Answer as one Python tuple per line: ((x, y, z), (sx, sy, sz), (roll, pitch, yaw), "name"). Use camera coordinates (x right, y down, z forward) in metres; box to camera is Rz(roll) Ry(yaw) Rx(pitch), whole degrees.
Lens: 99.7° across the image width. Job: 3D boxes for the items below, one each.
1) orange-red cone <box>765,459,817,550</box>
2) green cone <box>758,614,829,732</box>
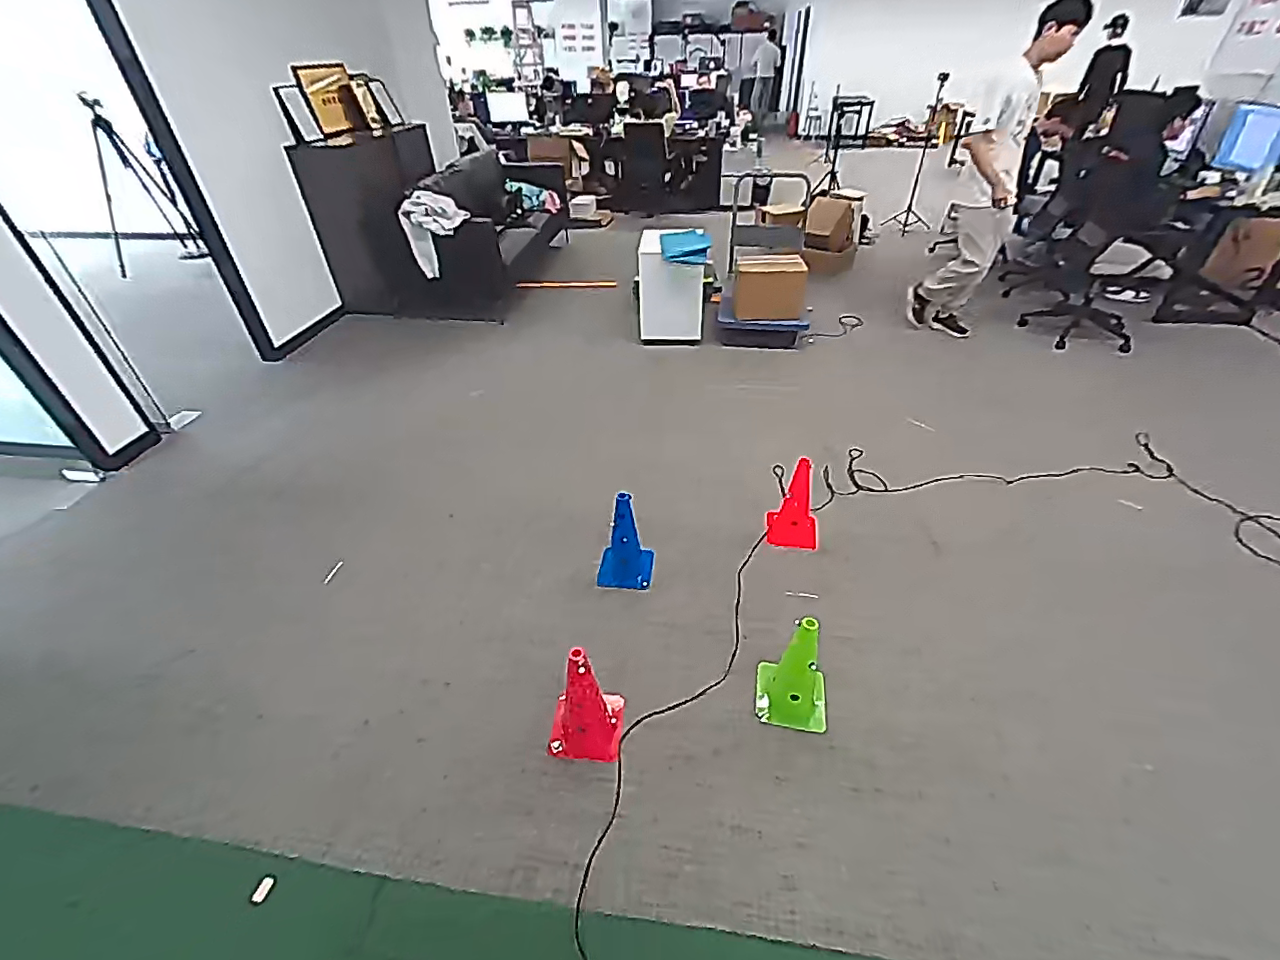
((0.605, 0.073, 2.084), (0.198, 0.360, 0.199), (6, 40, 12), "orange-red cone")
((0.455, 0.513, 1.519), (0.200, 0.368, 0.202), (6, 38, 9), "green cone")
